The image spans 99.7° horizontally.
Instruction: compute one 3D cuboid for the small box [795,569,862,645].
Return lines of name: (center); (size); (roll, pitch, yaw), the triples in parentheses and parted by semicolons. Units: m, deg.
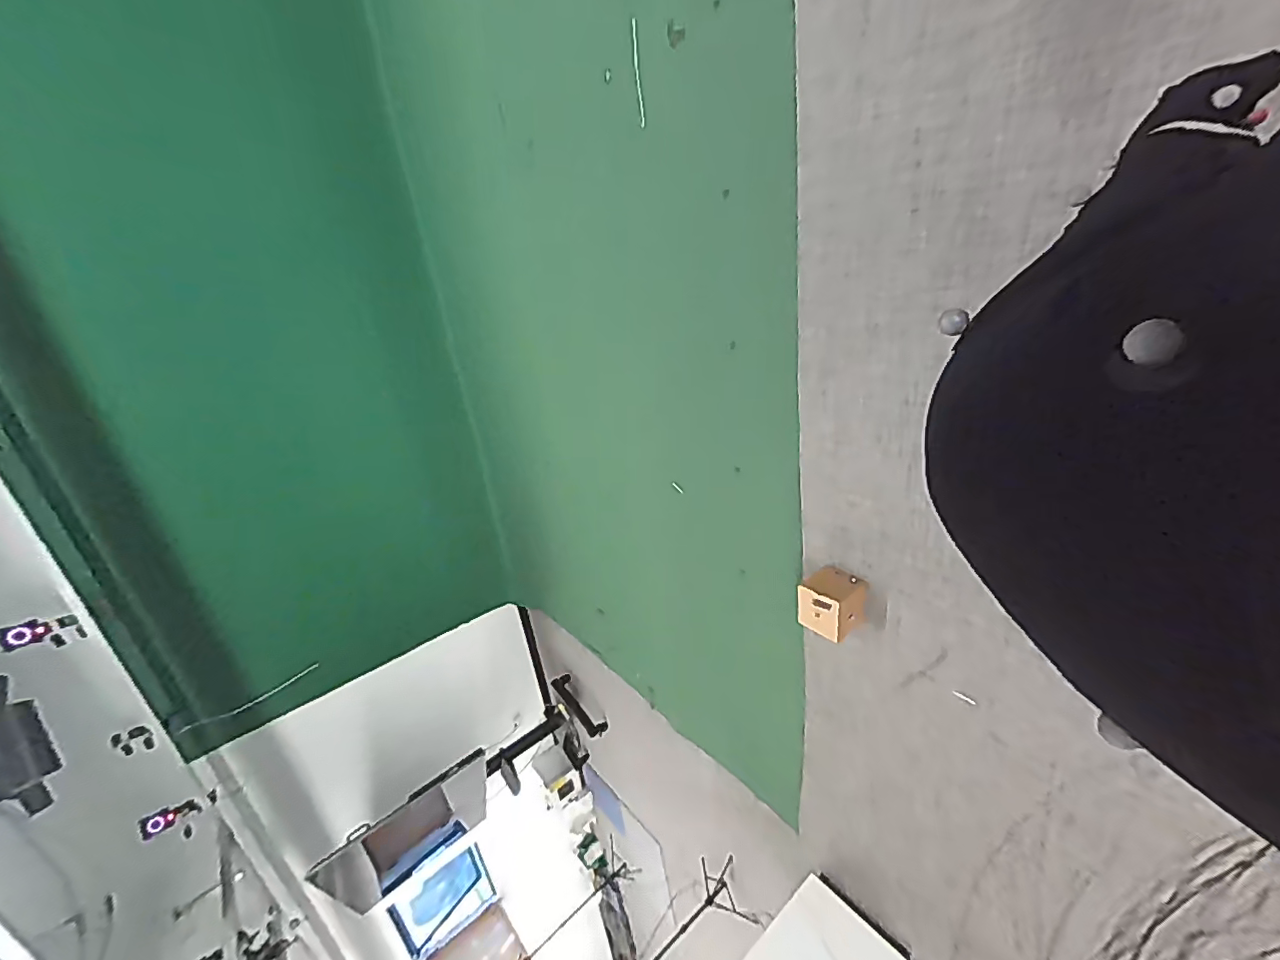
small box: (0.674, 0.445, 1.928); (0.168, 0.176, 0.179); (22, 127, 47)
